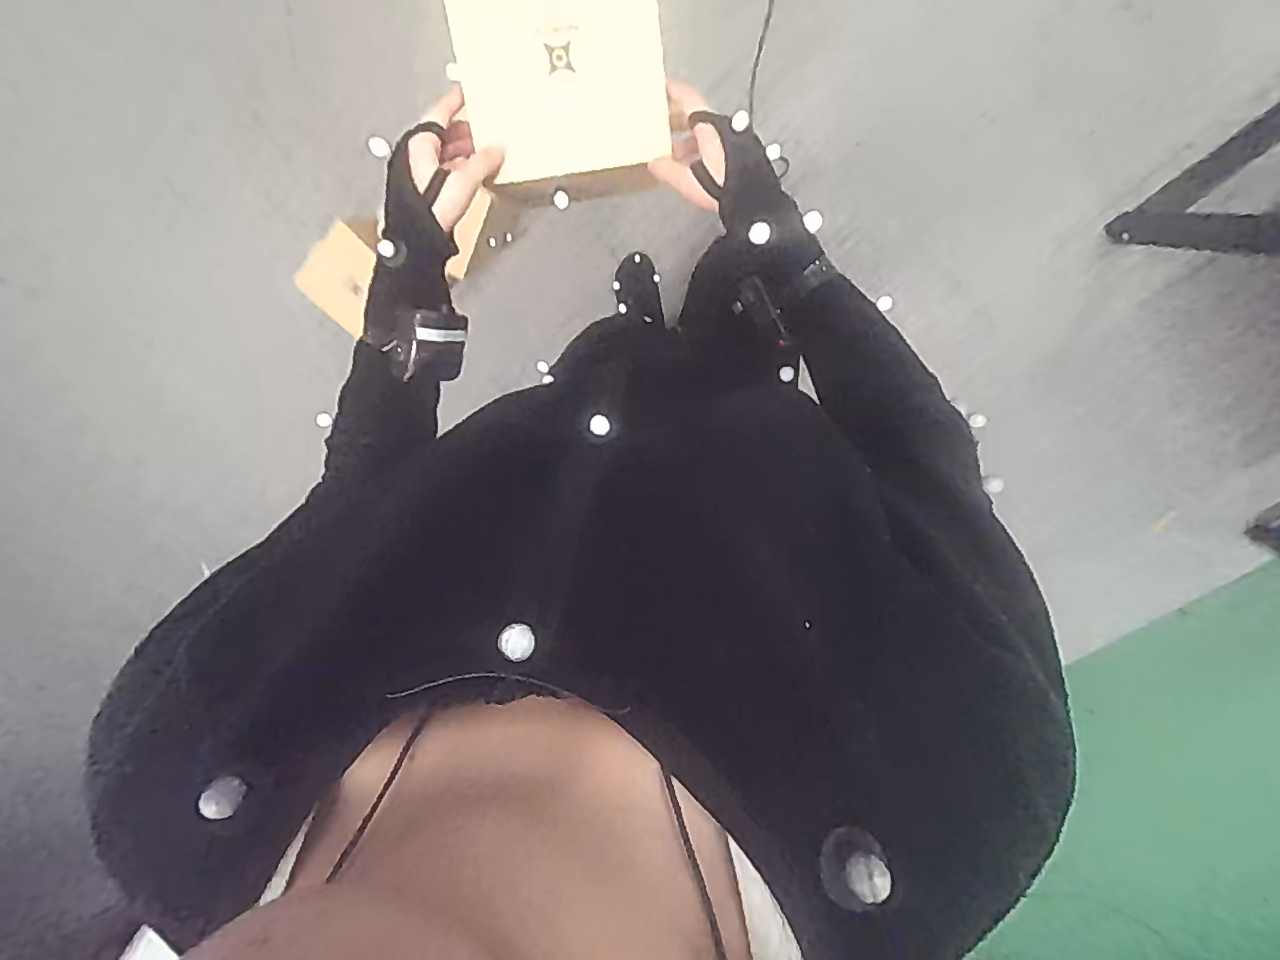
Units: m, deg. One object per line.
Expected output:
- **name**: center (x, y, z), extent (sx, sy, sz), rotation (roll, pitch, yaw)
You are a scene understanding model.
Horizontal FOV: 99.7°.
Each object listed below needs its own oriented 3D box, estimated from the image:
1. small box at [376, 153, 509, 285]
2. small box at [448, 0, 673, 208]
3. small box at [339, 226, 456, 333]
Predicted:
- **small box**: center (-0.379, -0.513, 1.066), extent (0.179, 0.176, 0.168), rotation (27, 114, -11)
- **small box**: center (-0.062, -0.361, 0.498), extent (0.168, 0.176, 0.179), rotation (-7, 108, 0)
- **small box**: center (-0.551, -0.478, 1.265), extent (0.179, 0.176, 0.168), rotation (-40, 108, 19)
